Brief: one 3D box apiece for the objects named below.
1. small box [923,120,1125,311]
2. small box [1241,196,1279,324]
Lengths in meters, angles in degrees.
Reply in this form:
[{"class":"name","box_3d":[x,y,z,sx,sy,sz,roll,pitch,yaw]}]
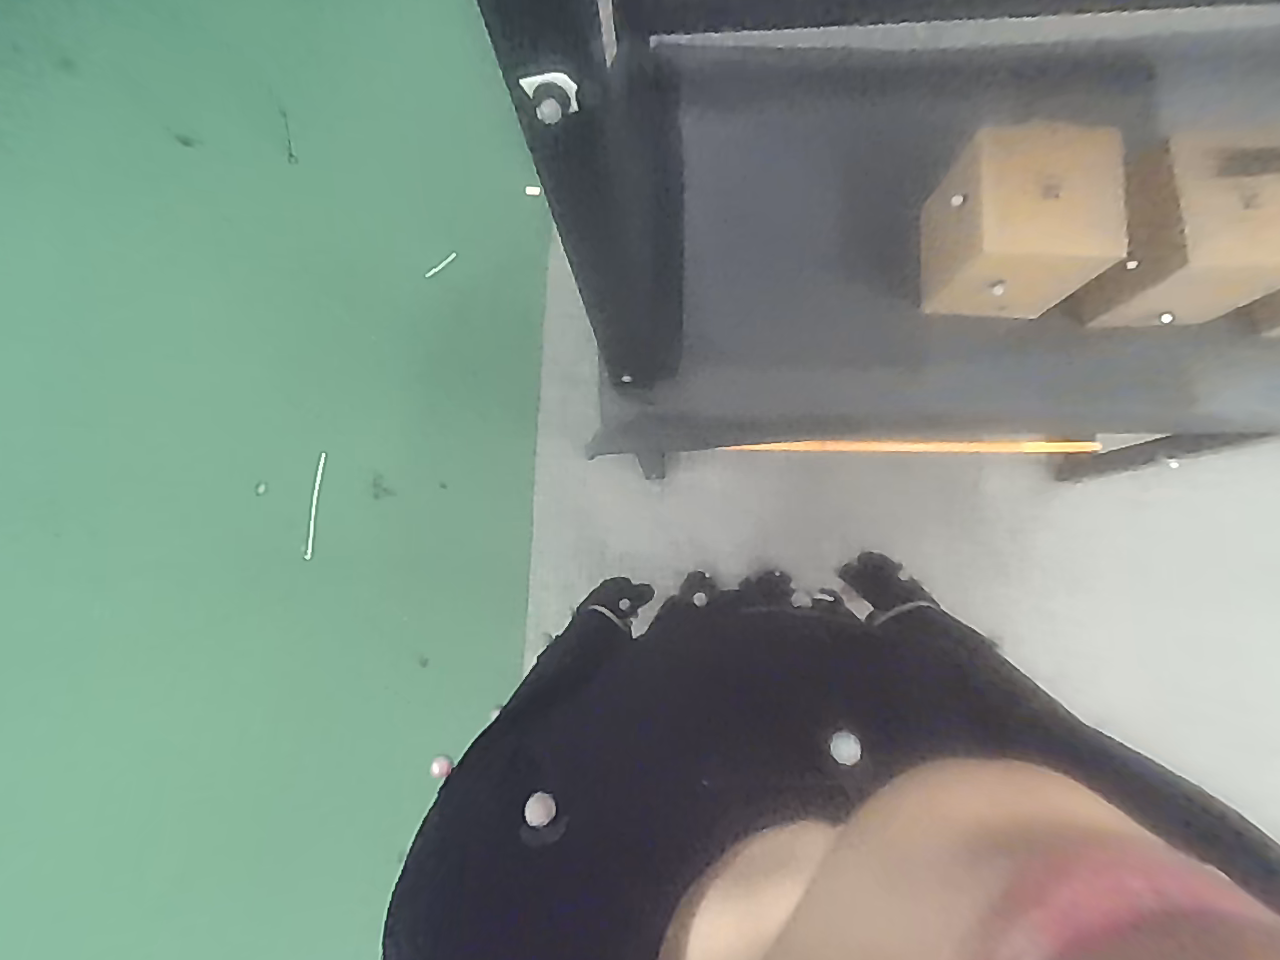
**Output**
[{"class":"small box","box_3d":[0.505,-0.346,0.735,0.168,0.176,0.179,5,81,5]},{"class":"small box","box_3d":[0.950,-0.309,0.694,0.168,0.176,0.179,-1,81,4]}]
